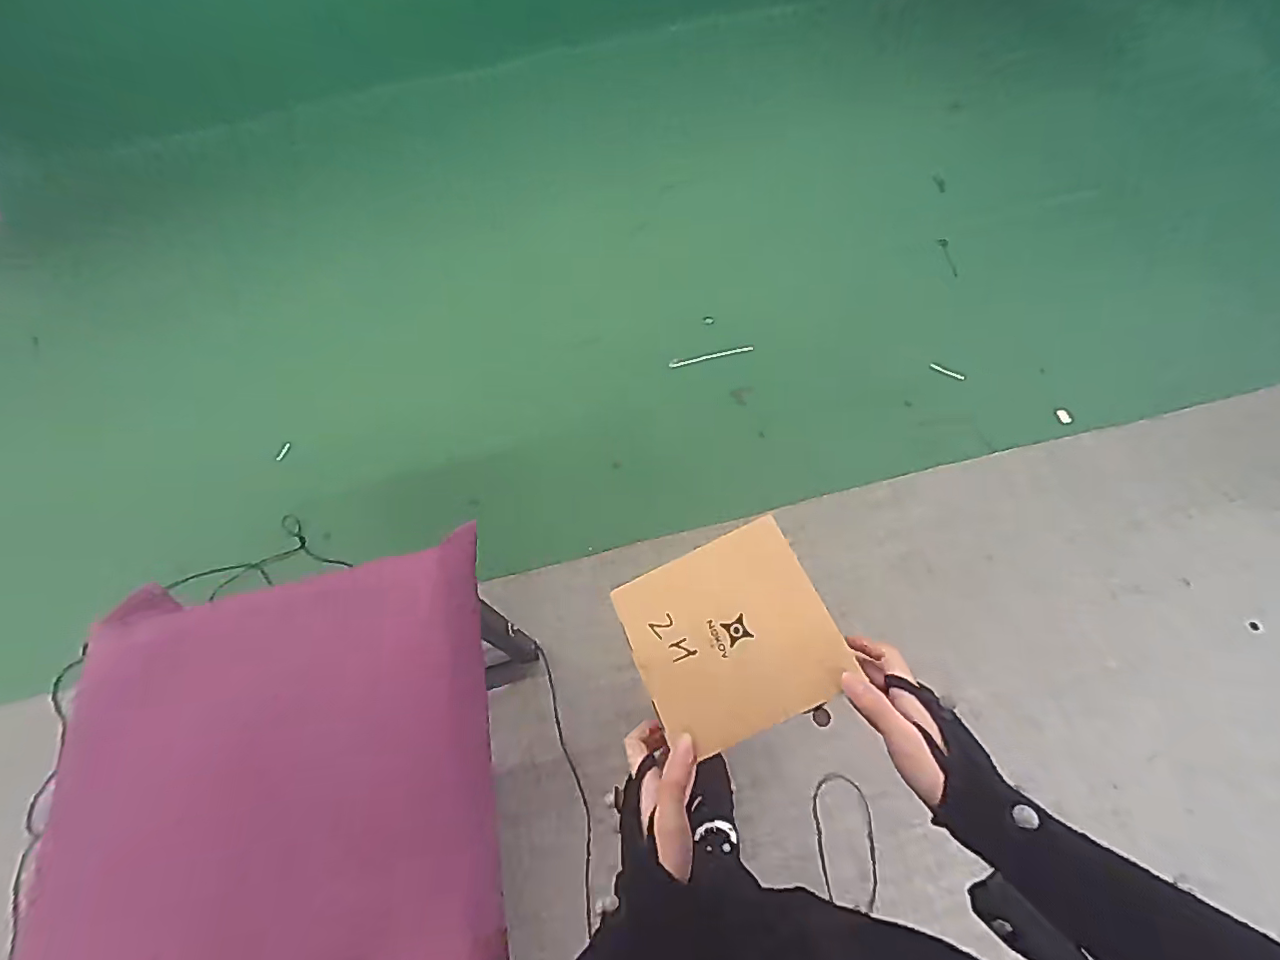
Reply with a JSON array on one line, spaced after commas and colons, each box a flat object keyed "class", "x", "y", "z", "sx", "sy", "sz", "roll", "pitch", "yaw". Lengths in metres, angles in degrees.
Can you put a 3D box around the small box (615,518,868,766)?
[{"class": "small box", "x": 0.099, "y": 0.167, "z": 0.552, "sx": 0.179, "sy": 0.176, "sz": 0.168, "roll": -26, "pitch": 63, "yaw": 3}]
